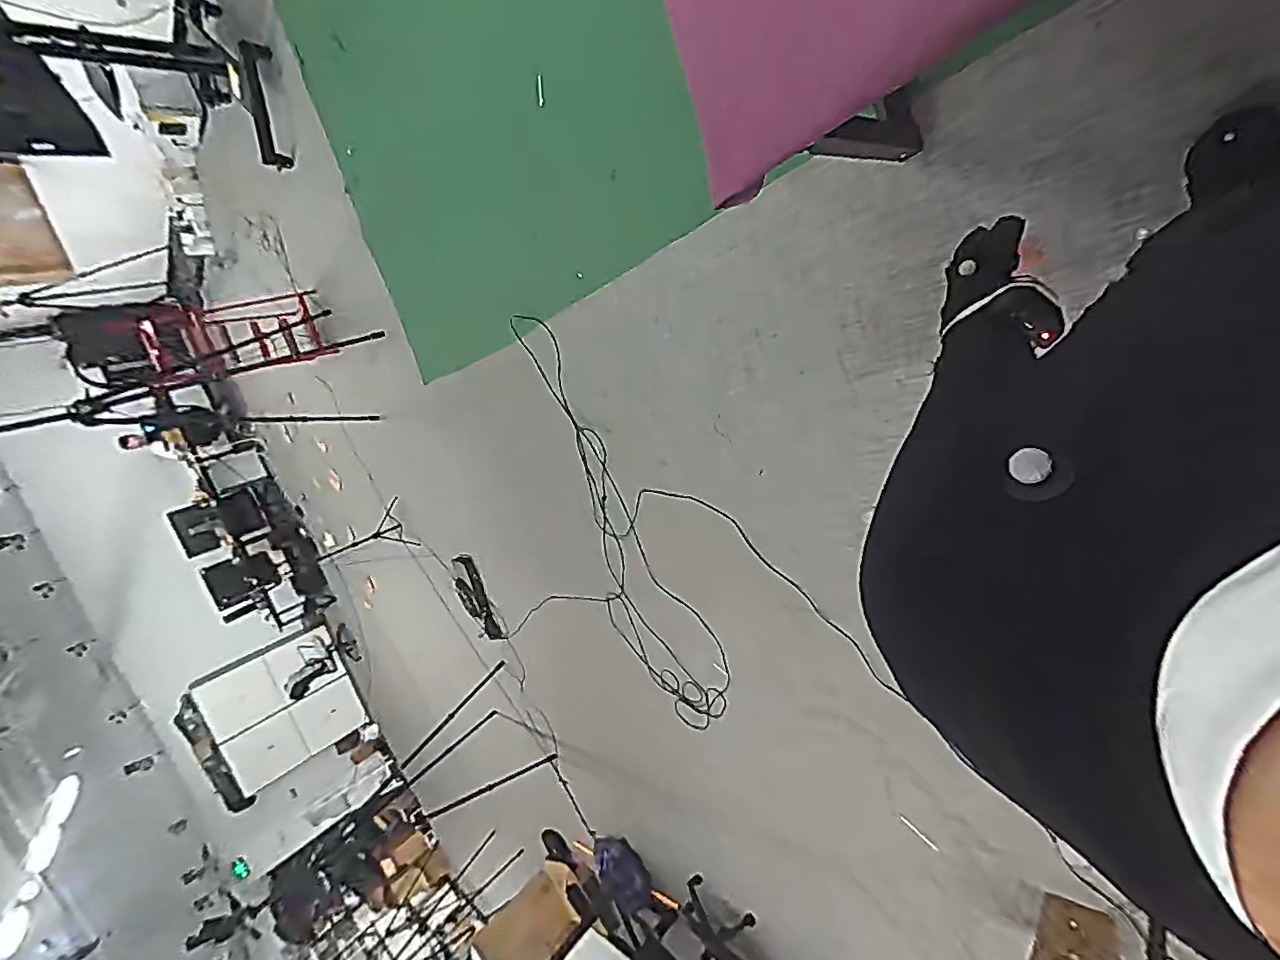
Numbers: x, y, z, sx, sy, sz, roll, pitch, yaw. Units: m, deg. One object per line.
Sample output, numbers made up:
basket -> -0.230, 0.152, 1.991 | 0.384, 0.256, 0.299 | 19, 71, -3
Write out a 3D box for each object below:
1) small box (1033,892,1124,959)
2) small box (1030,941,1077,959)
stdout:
small box -> 1.285, 1.370, 1.582 | 0.168, 0.176, 0.179 | -10, 102, 51
small box -> 1.172, 1.433, 1.477 | 0.168, 0.176, 0.179 | -6, 107, 47
